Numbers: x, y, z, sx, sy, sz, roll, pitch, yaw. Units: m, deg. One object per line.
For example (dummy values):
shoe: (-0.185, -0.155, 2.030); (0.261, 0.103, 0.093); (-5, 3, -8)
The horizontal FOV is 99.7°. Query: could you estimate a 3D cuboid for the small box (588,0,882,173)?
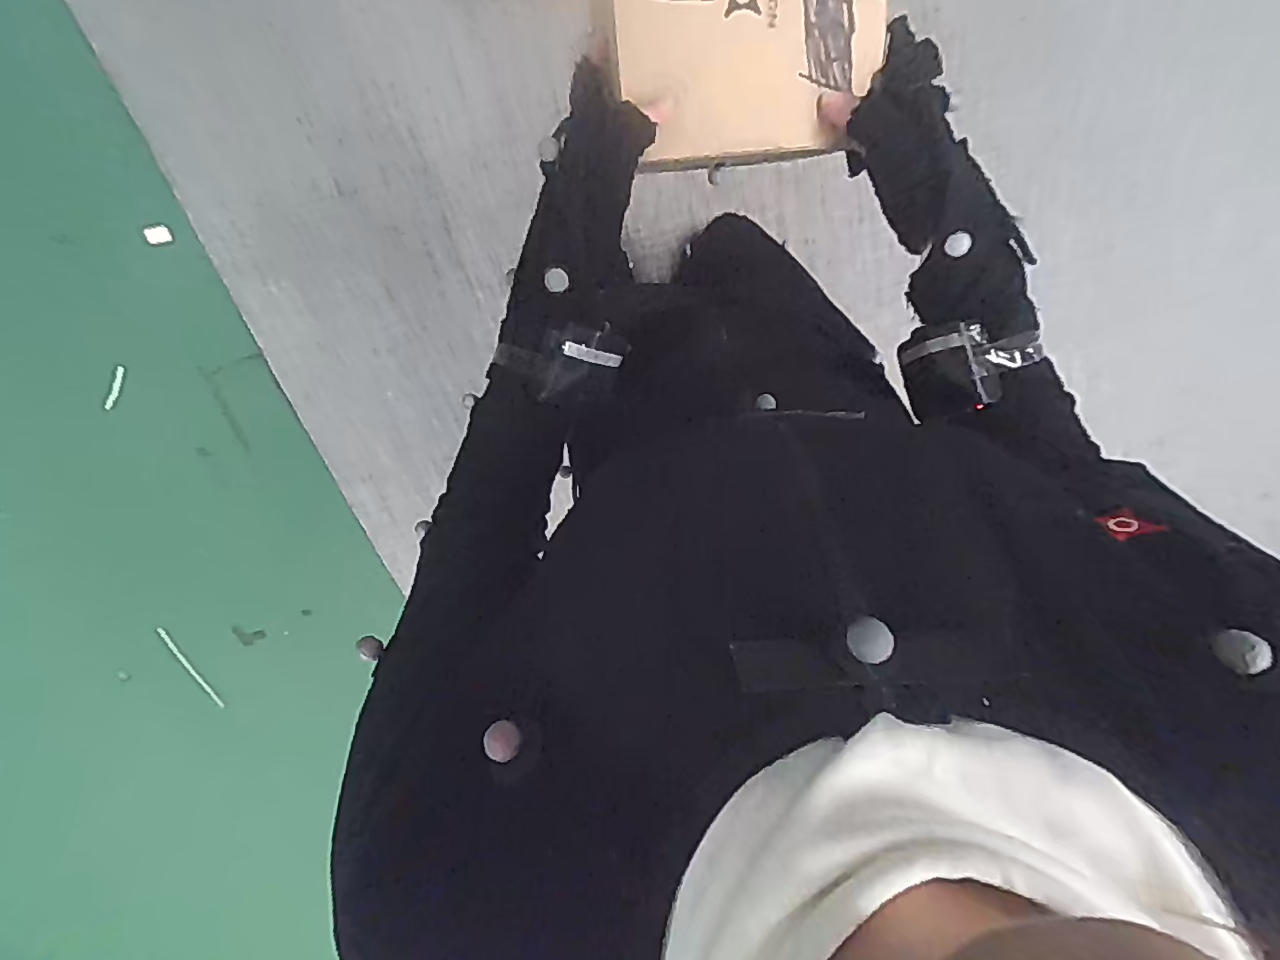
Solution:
small box: (0.056, -0.330, 0.398); (0.179, 0.176, 0.168); (-7, 117, -3)
